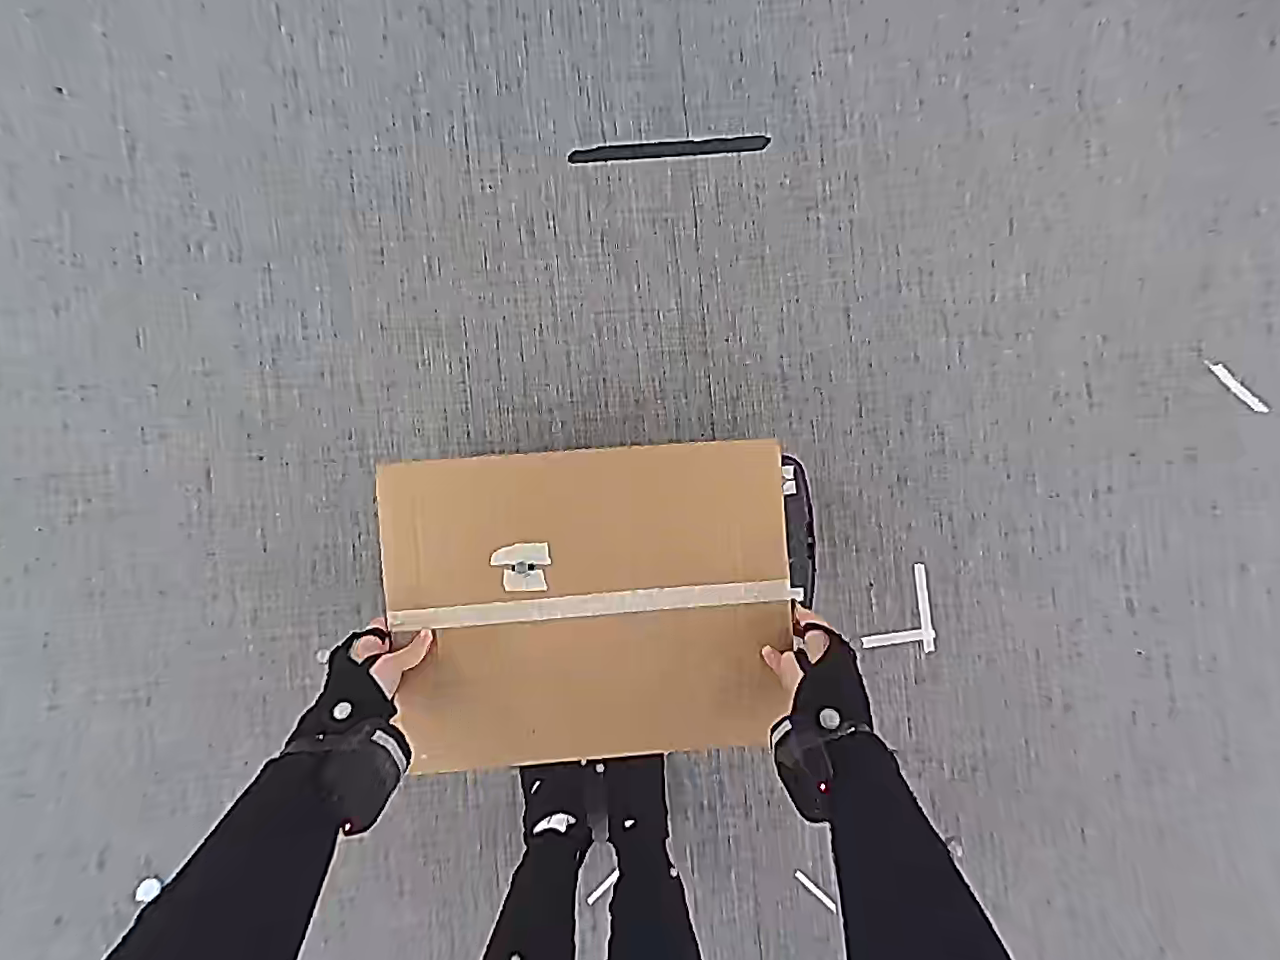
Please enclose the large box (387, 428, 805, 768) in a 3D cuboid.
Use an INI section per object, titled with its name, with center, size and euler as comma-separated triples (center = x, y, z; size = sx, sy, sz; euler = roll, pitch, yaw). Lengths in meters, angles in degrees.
[large box]
center = -0.044, 0.117, 0.689
size = 0.408, 0.320, 0.320
euler = -4, 89, -1
